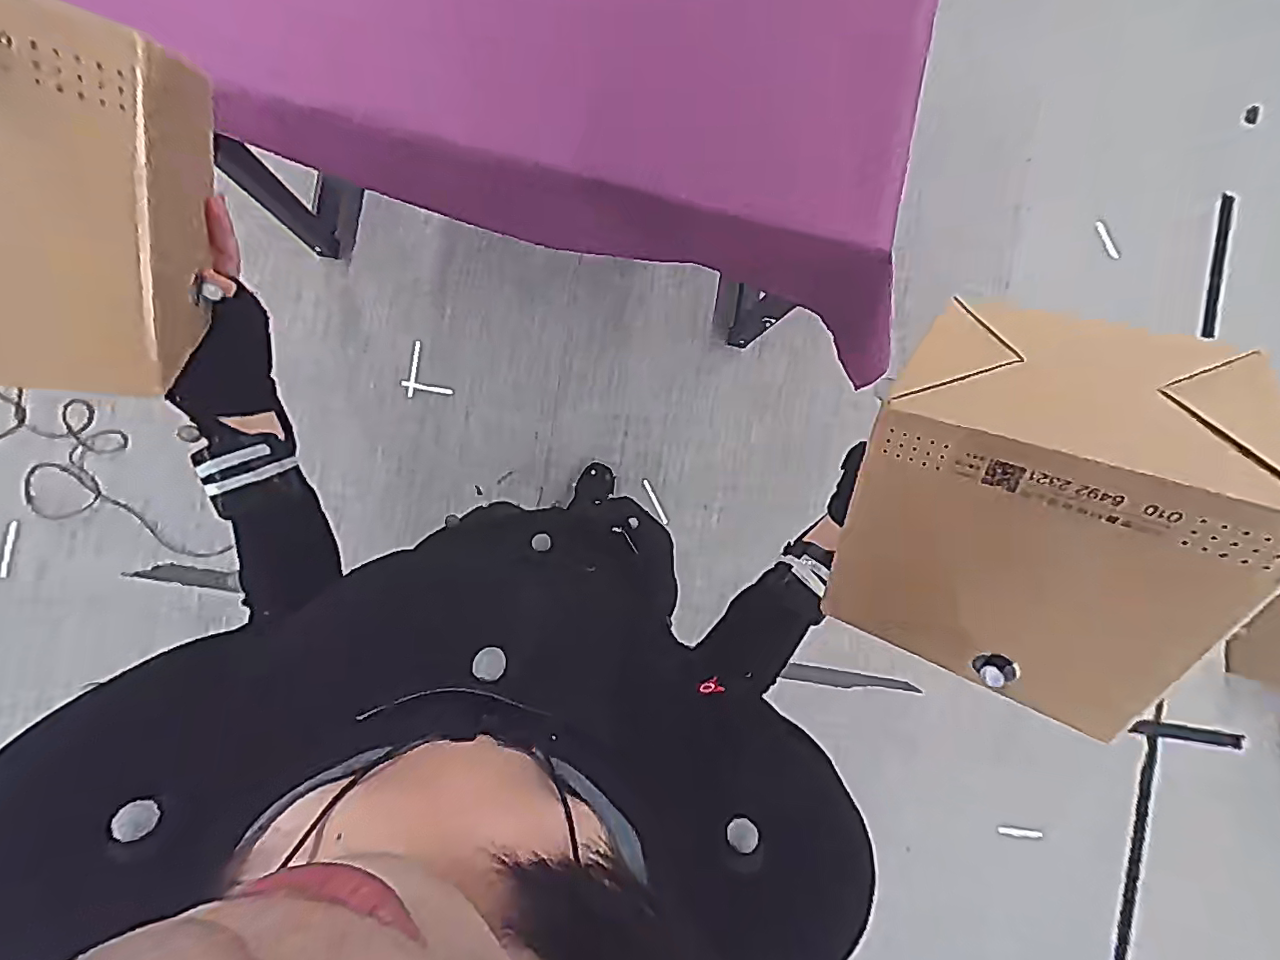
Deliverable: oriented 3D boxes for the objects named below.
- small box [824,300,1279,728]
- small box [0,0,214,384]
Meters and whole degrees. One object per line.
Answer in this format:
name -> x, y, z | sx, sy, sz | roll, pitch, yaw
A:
small box -> 0.234, 0.001, 0.329 | 0.168, 0.176, 0.179 | 21, 45, 28
small box -> -0.336, -0.165, 0.279 | 0.168, 0.179, 0.176 | 2, 115, -30
